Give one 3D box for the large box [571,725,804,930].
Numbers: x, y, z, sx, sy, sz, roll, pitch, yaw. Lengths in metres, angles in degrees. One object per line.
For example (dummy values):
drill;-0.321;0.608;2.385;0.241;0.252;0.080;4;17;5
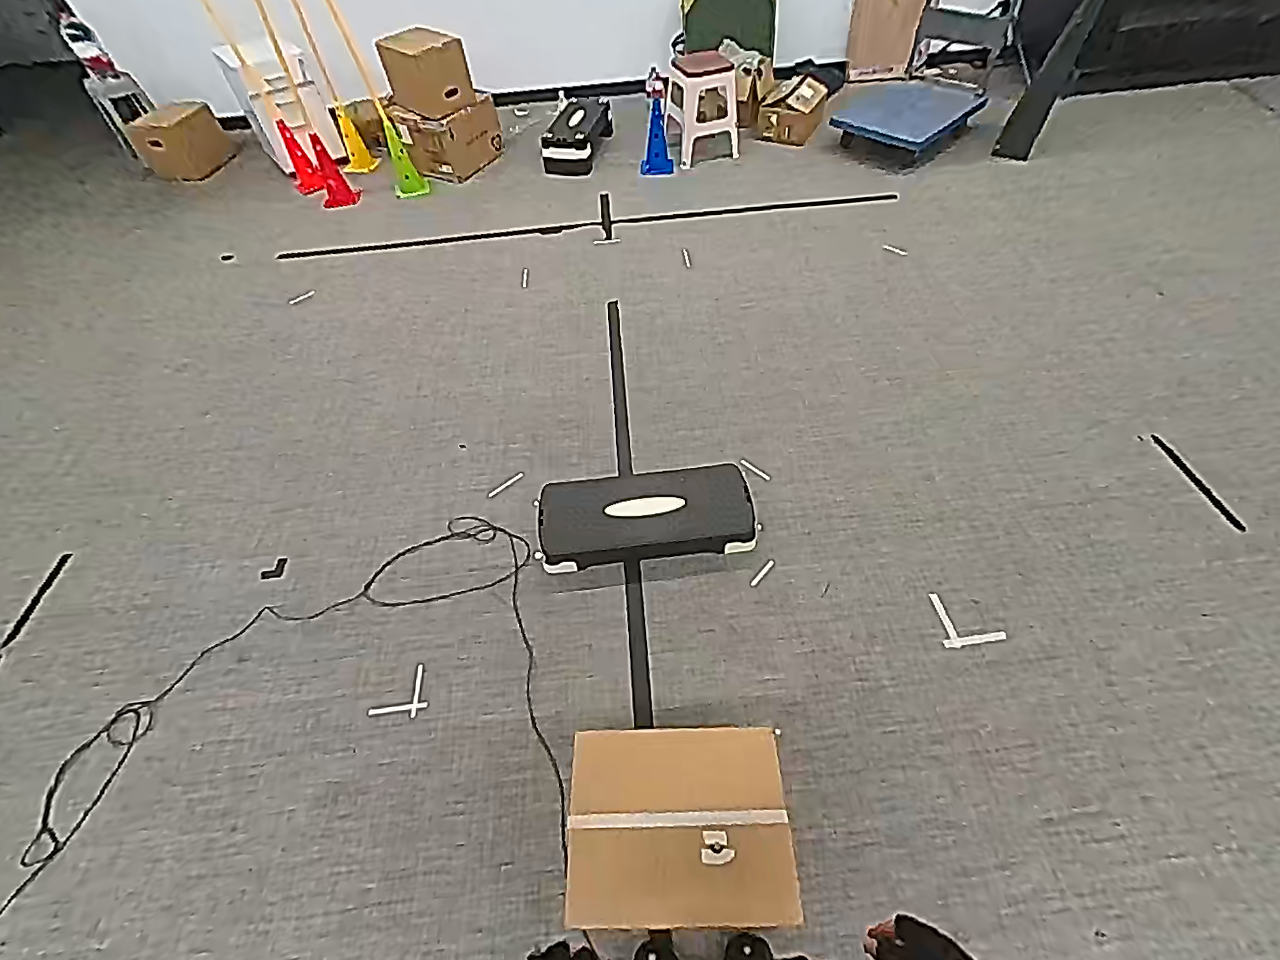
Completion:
large box;0.079;0.718;1.116;0.408;0.320;0.320;-2;52;1
